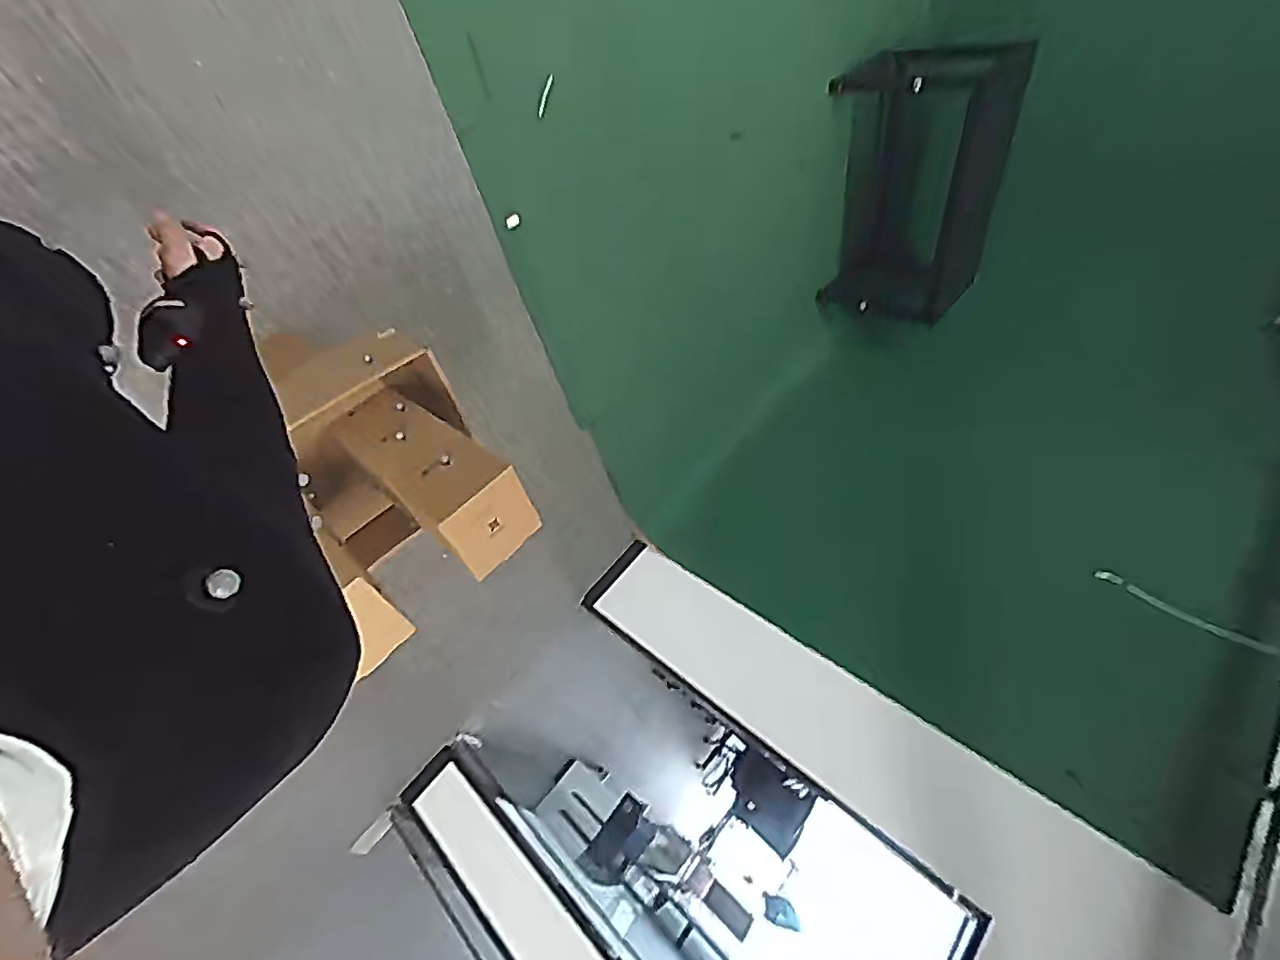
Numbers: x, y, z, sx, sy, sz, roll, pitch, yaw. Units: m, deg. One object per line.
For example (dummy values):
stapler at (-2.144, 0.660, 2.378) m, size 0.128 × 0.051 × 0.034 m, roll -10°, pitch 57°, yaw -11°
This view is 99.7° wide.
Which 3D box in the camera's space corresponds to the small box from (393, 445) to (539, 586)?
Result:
small box at (-0.328, 0.062, 1.030) m, size 0.168 × 0.176 × 0.179 m, roll -44°, pitch 142°, yaw -25°

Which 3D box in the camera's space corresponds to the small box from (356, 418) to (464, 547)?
small box at (-0.446, 0.000, 1.124) m, size 0.168 × 0.176 × 0.179 m, roll -44°, pitch 142°, yaw -25°

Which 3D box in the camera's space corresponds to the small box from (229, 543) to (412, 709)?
small box at (-0.525, 0.235, 0.897) m, size 0.168 × 0.176 × 0.179 m, roll -44°, pitch 141°, yaw -24°

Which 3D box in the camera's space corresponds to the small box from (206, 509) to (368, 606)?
small box at (-0.643, 0.176, 0.994) m, size 0.168 × 0.176 × 0.179 m, roll -44°, pitch 141°, yaw -24°
